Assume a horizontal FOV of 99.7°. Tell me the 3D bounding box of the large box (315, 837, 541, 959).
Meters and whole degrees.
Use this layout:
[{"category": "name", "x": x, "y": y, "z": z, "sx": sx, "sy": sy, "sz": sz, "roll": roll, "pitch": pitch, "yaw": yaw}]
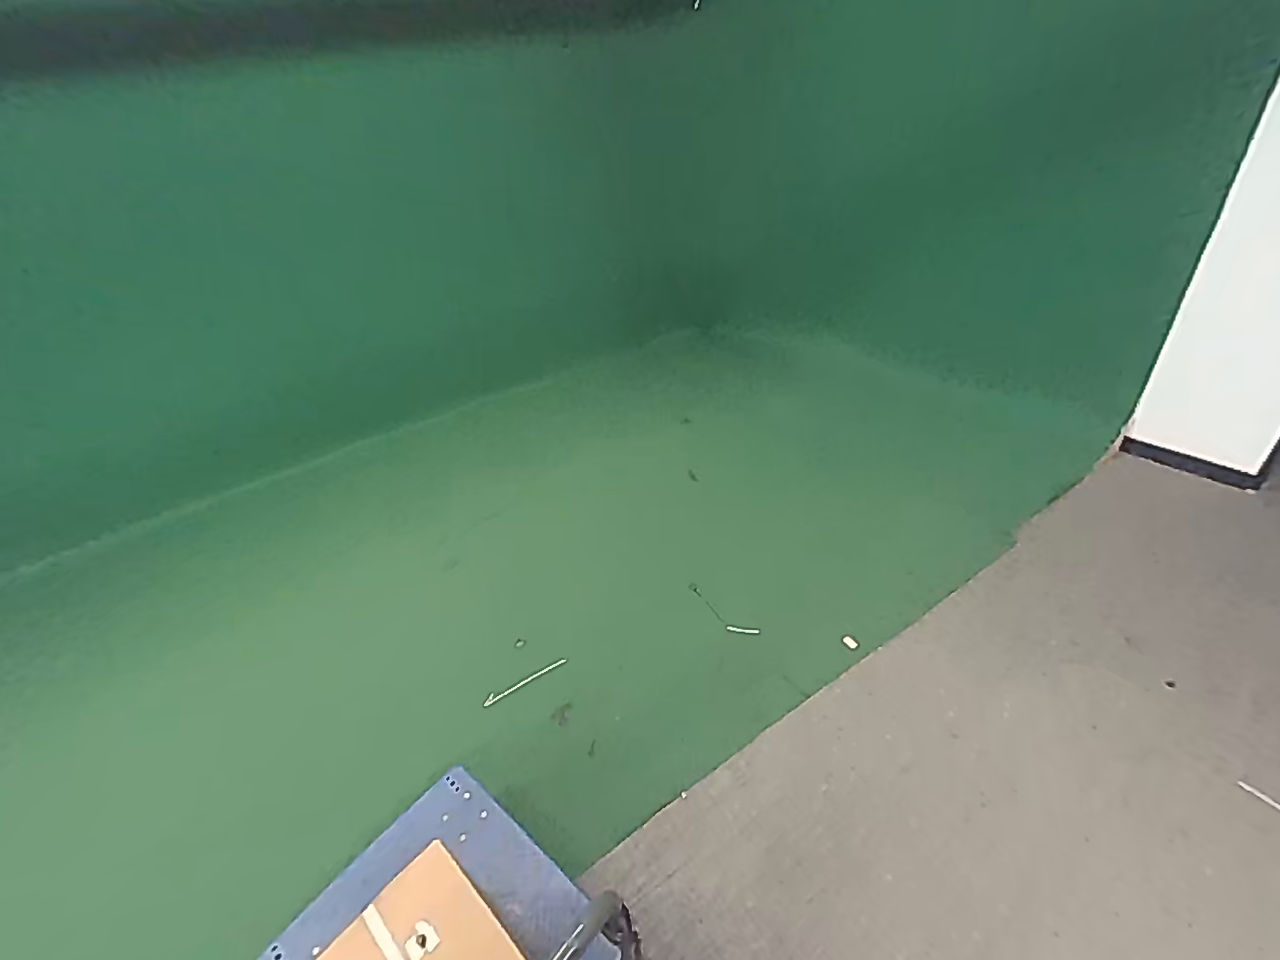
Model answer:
[{"category": "large box", "x": -0.352, "y": 0.998, "z": 1.013, "sx": 0.408, "sy": 0.320, "sz": 0.320, "roll": 22, "pitch": 46, "yaw": 38}]
